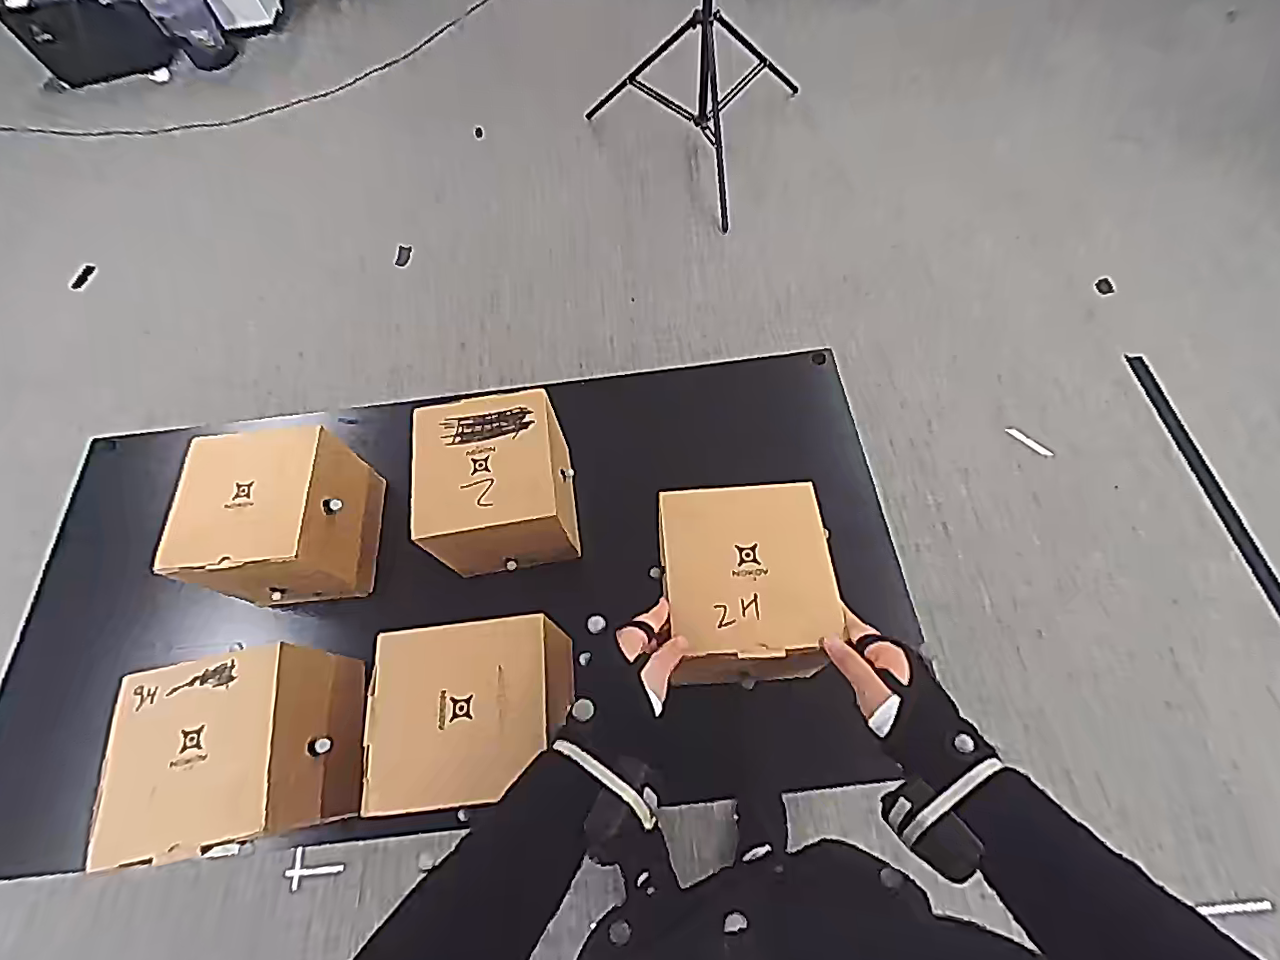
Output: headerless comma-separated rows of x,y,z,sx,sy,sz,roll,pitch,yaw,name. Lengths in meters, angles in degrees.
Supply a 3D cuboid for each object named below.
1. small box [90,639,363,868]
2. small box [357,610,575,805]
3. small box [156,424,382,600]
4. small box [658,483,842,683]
-0.429,0.290,0.597,0.168,0.176,0.179,-12,65,-2,small box
-0.175,0.251,0.597,0.179,0.176,0.168,-7,64,0,small box
-0.466,0.048,0.714,0.168,0.176,0.179,-6,65,1,small box
0.106,0.121,0.611,0.168,0.176,0.179,-4,61,1,small box
